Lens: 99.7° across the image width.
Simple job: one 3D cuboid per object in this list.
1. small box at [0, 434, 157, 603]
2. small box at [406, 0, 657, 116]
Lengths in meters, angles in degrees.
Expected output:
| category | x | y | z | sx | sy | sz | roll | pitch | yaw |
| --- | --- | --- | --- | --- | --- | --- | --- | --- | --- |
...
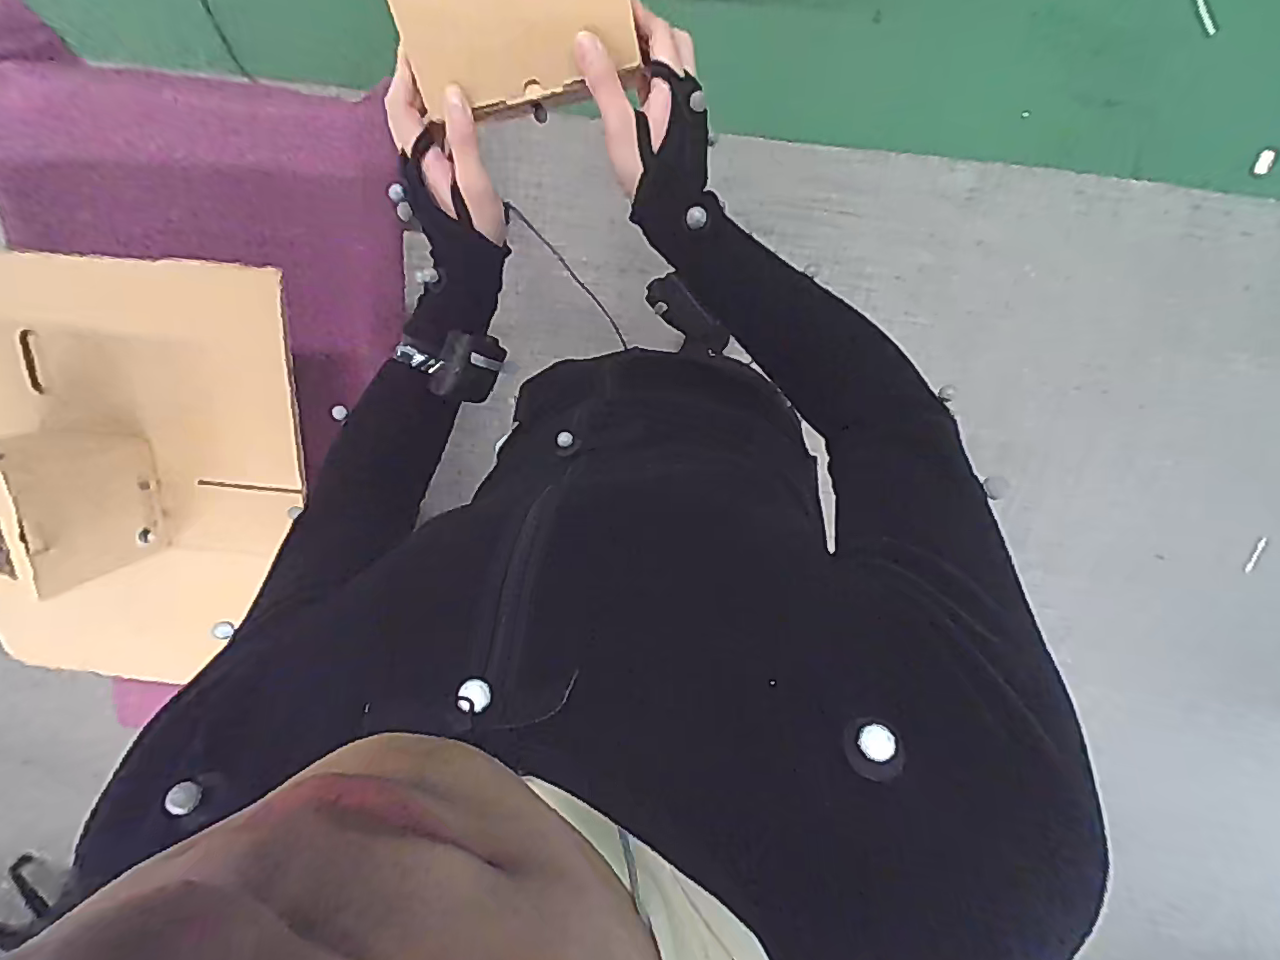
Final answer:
| category | x | y | z | sx | sy | sz | roll | pitch | yaw |
| --- | --- | --- | --- | --- | --- | --- | --- | --- | --- |
| small box | -0.777 | 0.039 | 0.698 | 0.179 | 0.176 | 0.168 | 5 | 106 | 5 |
| small box | -0.086 | -0.400 | 0.417 | 0.168 | 0.176 | 0.179 | -10 | 124 | 5 |
